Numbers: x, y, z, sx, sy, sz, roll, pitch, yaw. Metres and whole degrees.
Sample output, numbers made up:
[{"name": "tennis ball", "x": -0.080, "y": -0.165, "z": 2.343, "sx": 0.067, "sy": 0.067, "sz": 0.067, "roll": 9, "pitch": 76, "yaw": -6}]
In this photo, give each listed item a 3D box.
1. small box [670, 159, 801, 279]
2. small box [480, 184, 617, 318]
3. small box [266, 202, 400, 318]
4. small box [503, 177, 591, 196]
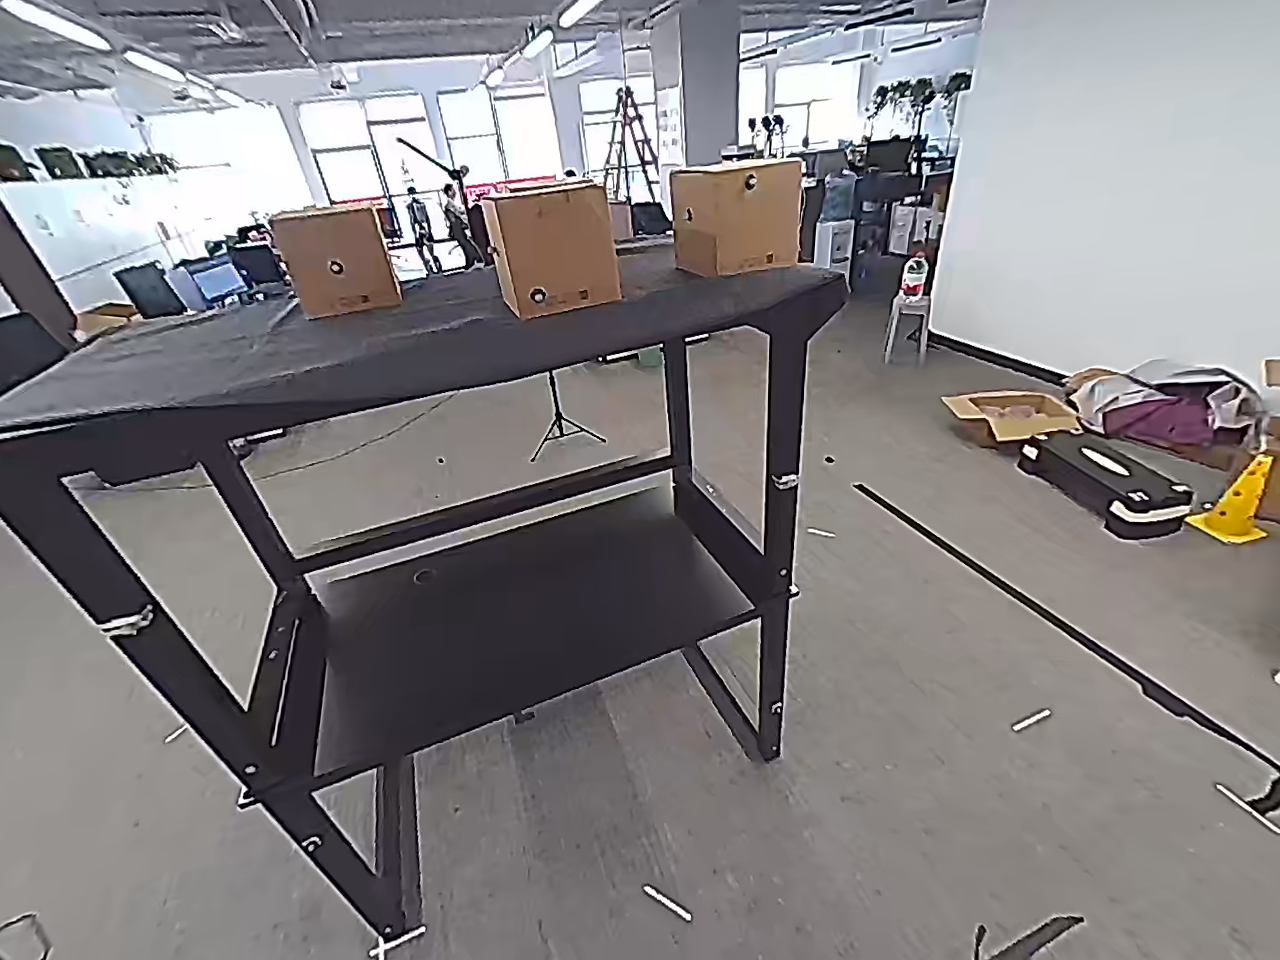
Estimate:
[{"name": "small box", "x": 0.166, "y": -0.464, "z": 0.965, "sx": 0.168, "sy": 0.176, "sz": 0.179, "roll": -17, "pitch": 33, "yaw": -15}, {"name": "small box", "x": -0.146, "y": -0.368, "z": 0.867, "sx": 0.168, "sy": 0.176, "sz": 0.179, "roll": -16, "pitch": 31, "yaw": -15}, {"name": "small box", "x": -0.562, "y": -0.412, "z": 1.014, "sx": 0.168, "sy": 0.176, "sz": 0.179, "roll": -16, "pitch": 34, "yaw": -16}, {"name": "small box", "x": -0.184, "y": -0.528, "z": 1.134, "sx": 0.168, "sy": 0.176, "sz": 0.179, "roll": -13, "pitch": 32, "yaw": -12}]
